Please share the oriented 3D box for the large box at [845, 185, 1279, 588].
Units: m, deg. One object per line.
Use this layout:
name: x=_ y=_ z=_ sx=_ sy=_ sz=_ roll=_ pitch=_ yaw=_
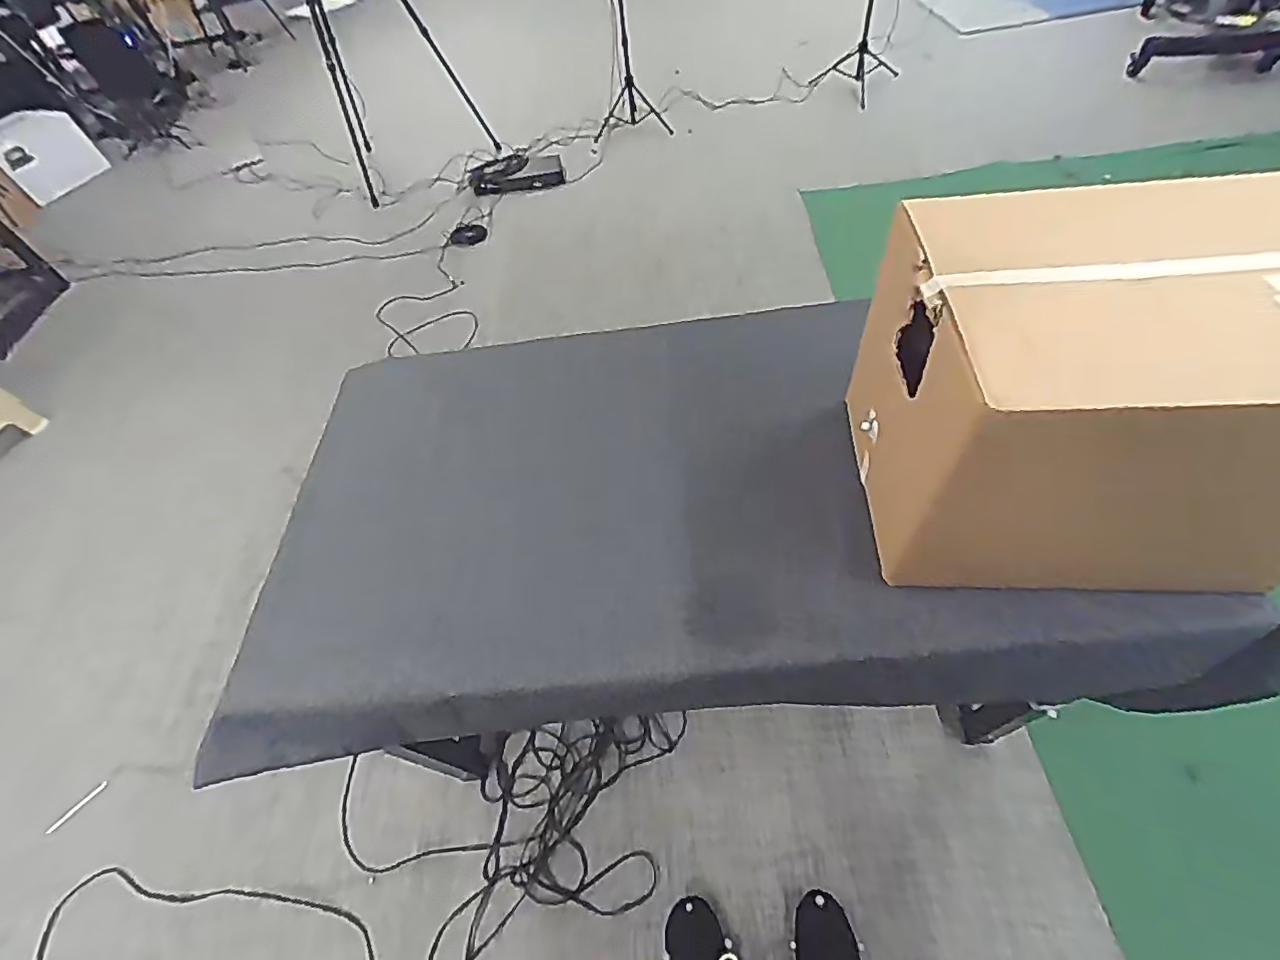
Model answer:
large box: x=0.484 y=-0.086 z=0.594 sx=0.408 sy=0.320 sz=0.320 roll=0 pitch=54 yaw=7
